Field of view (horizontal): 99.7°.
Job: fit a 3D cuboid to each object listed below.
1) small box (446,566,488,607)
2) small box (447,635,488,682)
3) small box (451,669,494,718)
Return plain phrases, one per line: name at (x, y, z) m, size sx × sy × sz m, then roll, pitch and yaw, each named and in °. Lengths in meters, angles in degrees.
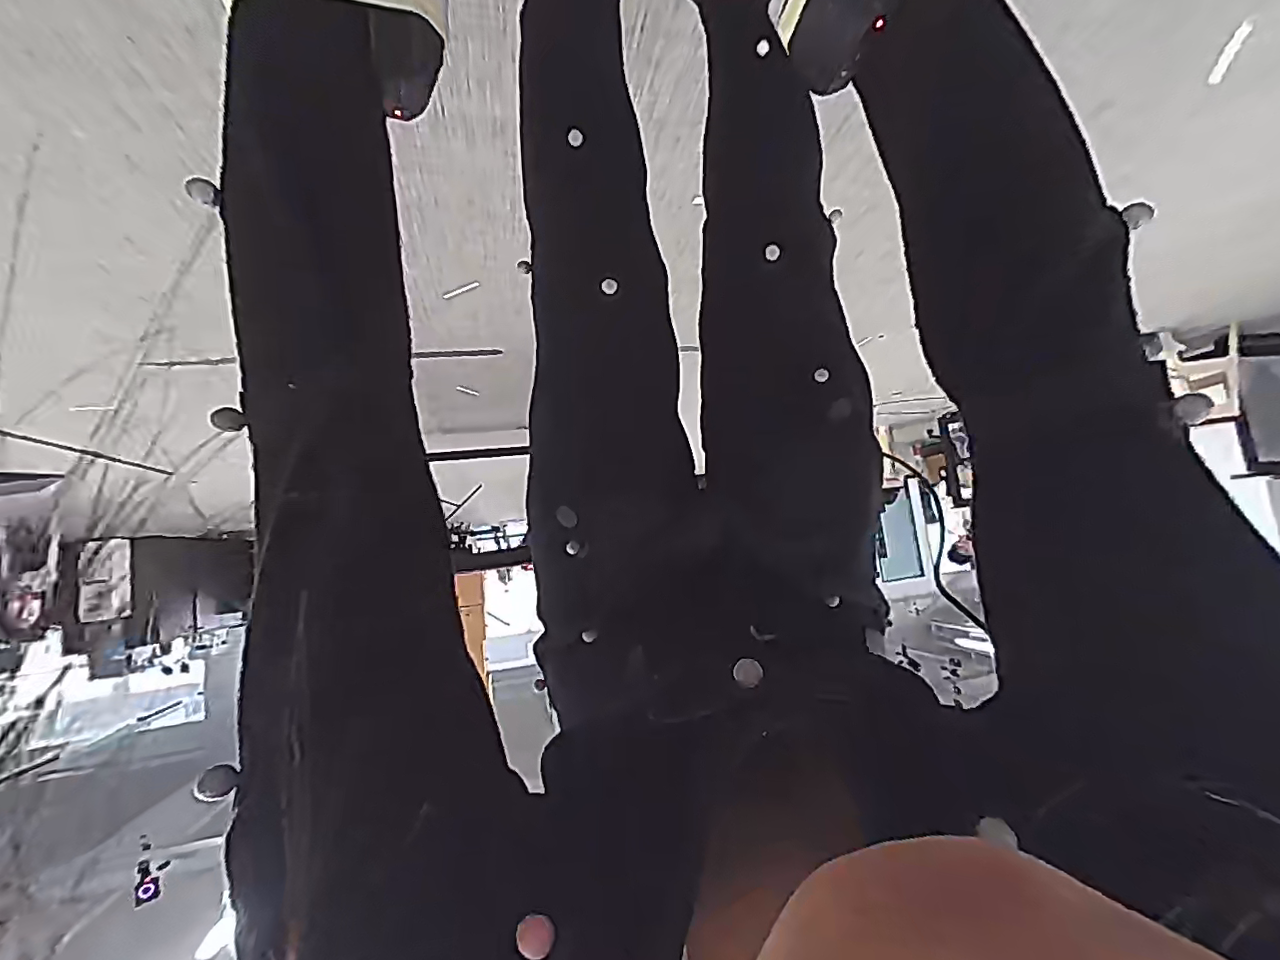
small box at (-0.823, 0.504, 2.576) m, size 0.179 × 0.176 × 0.168 m, roll -6°, pitch 174°, yaw -13°
small box at (-0.805, 0.829, 2.534) m, size 0.168 × 0.176 × 0.179 m, roll -5°, pitch 174°, yaw -12°
small box at (-0.782, 0.991, 2.529) m, size 0.179 × 0.176 × 0.168 m, roll -5°, pitch 173°, yaw -12°
